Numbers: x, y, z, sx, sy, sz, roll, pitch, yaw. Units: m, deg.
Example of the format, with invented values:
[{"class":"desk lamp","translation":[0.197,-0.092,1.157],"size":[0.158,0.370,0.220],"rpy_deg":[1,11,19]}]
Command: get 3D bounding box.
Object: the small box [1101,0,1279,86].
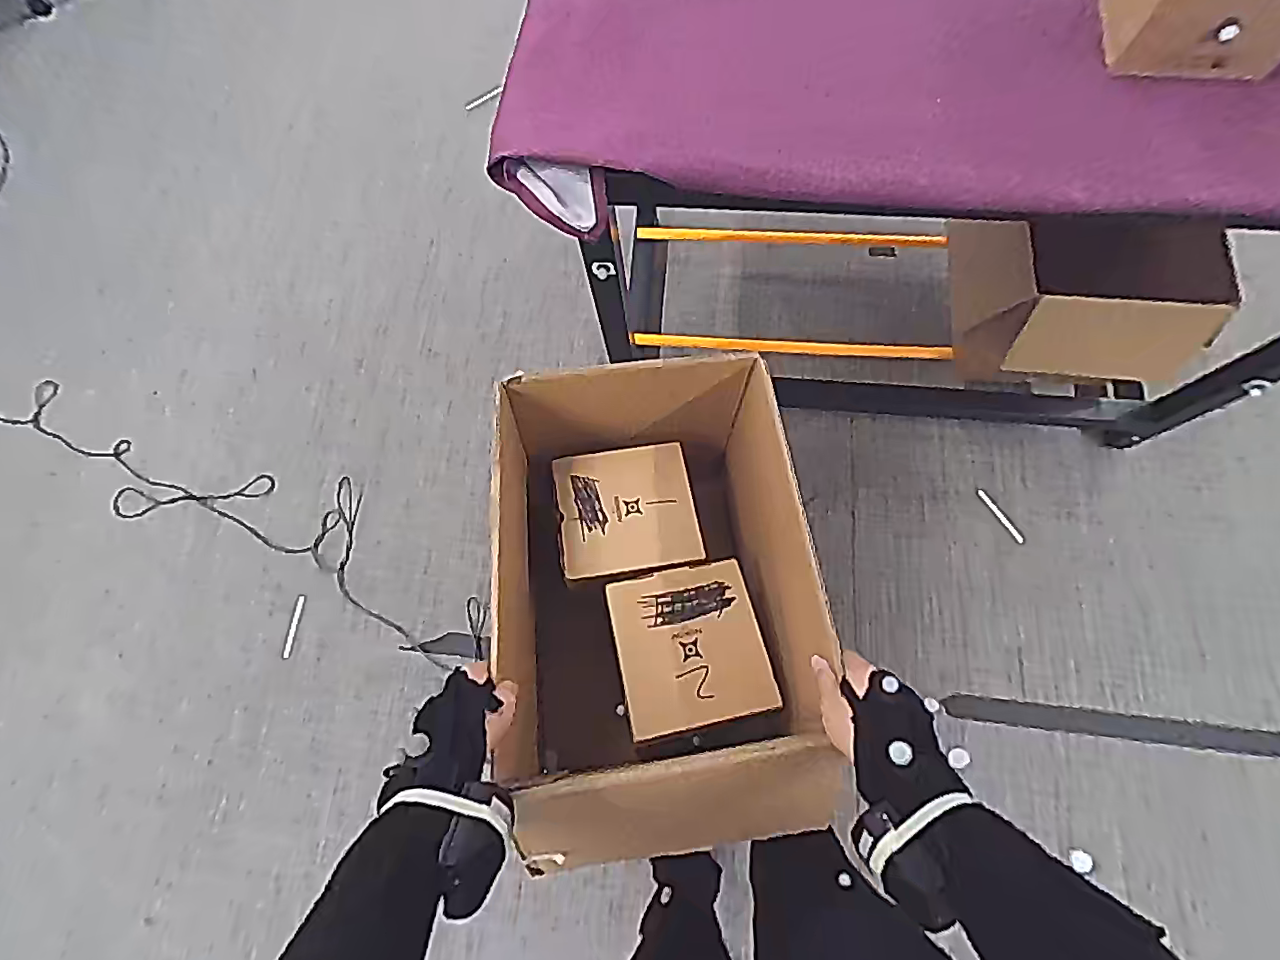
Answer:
[{"class":"small box","translation":[0.639,-0.569,0.576],"size":[0.168,0.176,0.179],"rpy_deg":[7,74,7]}]
